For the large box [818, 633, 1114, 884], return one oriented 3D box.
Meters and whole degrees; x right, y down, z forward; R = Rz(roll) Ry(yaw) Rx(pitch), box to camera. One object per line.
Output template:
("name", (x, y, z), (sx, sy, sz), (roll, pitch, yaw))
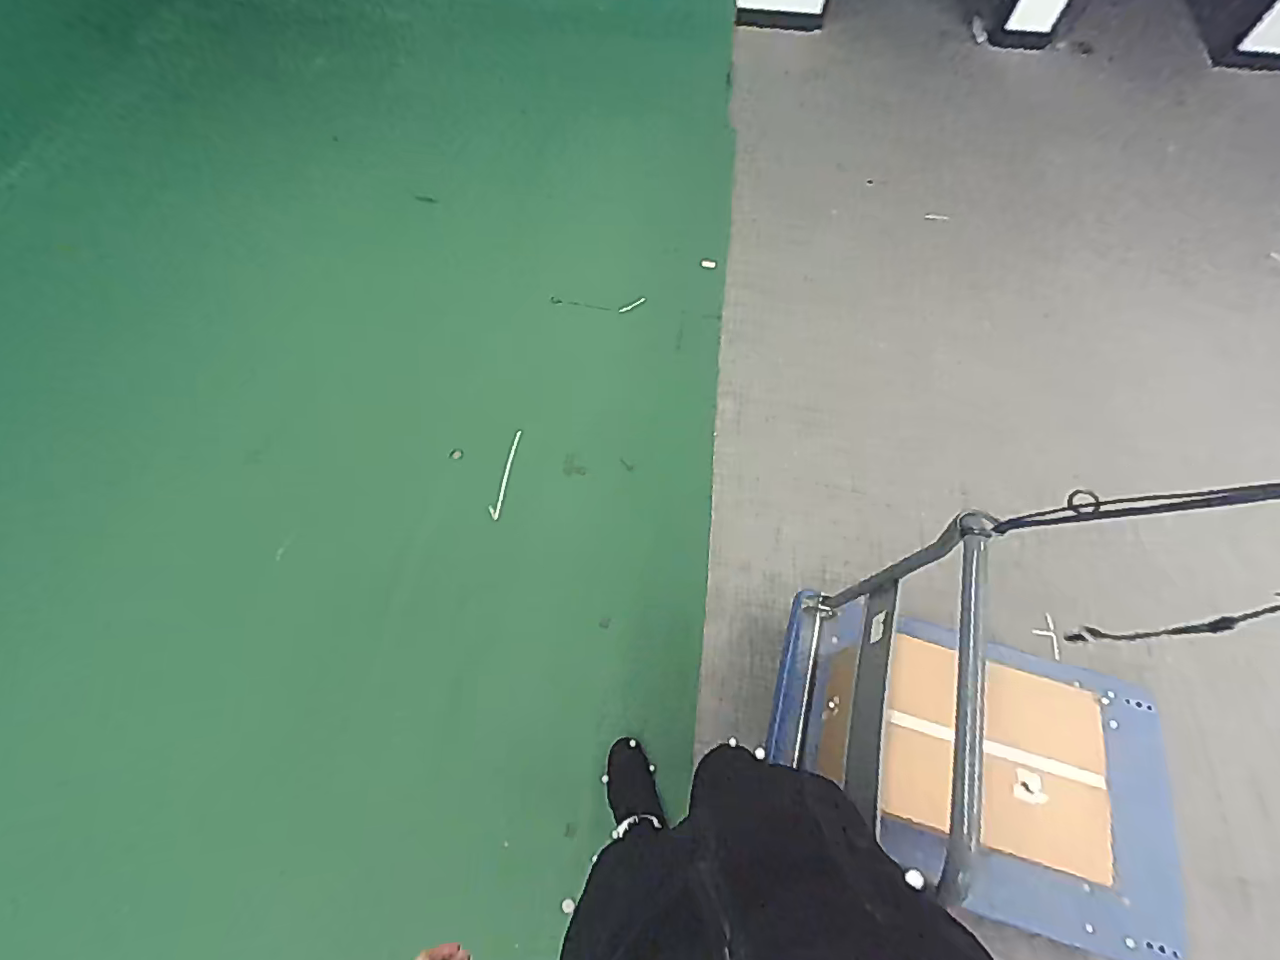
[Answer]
("large box", (0.622, 0.544, 1.098), (0.408, 0.320, 0.320), (17, 65, 6))
